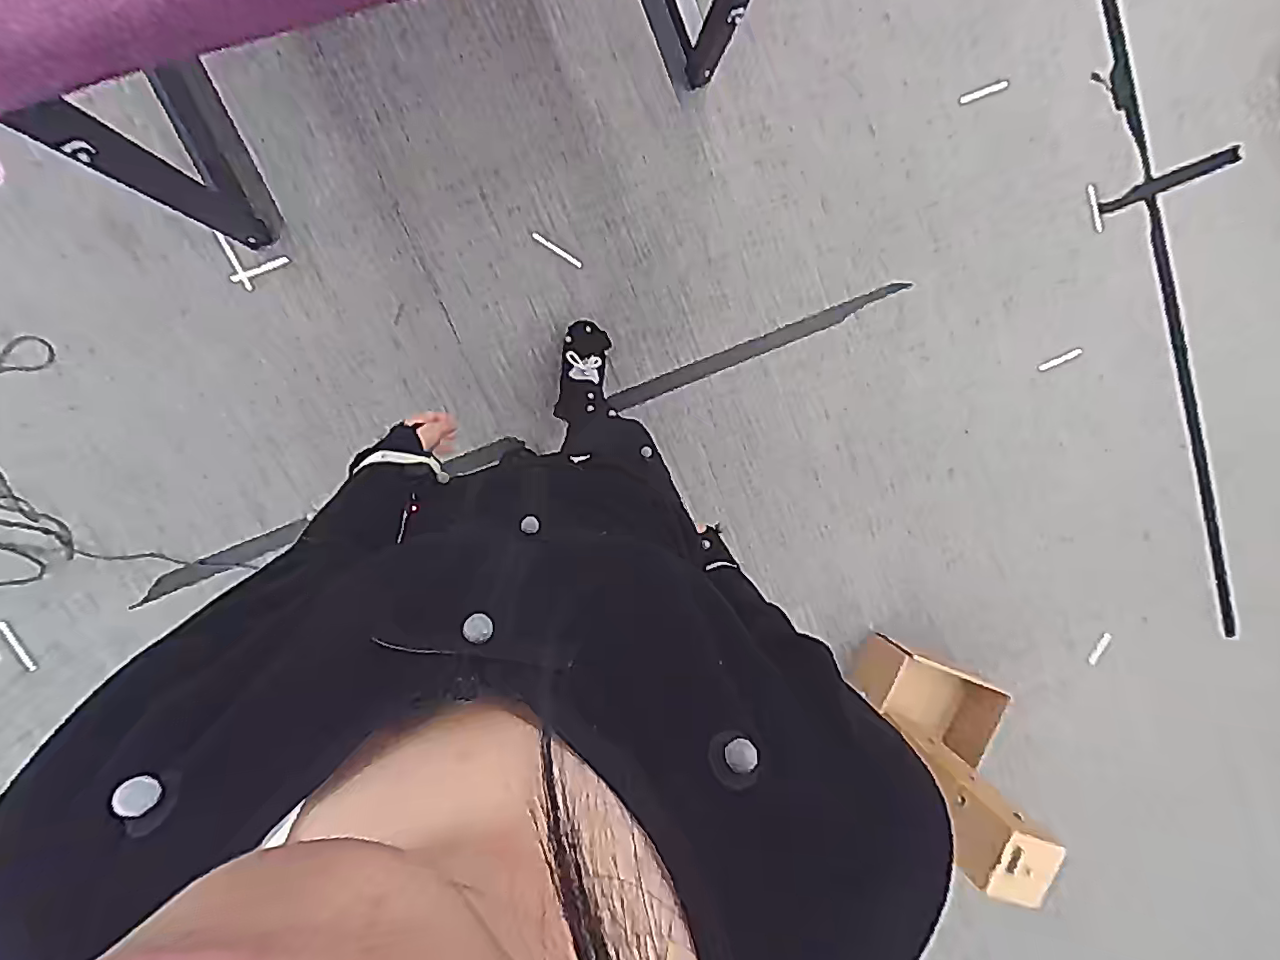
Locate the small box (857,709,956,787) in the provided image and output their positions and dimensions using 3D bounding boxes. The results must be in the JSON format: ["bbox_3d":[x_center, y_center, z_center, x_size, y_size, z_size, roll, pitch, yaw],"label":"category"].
[{"bbox_3d":[0.806,0.830,1.641,0.179,0.176,0.168,26,93,-13],"label":"small box"}]

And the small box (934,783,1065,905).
[{"bbox_3d":[0.869,0.881,1.325,0.179,0.176,0.168,23,93,-14],"label":"small box"}]

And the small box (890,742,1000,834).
[{"bbox_3d":[0.835,0.856,1.484,0.179,0.176,0.168,25,93,-12],"label":"small box"}]

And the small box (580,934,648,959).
[{"bbox_3d":[-0.071,1.242,1.285,0.168,0.176,0.179,27,93,-12],"label":"small box"}]
